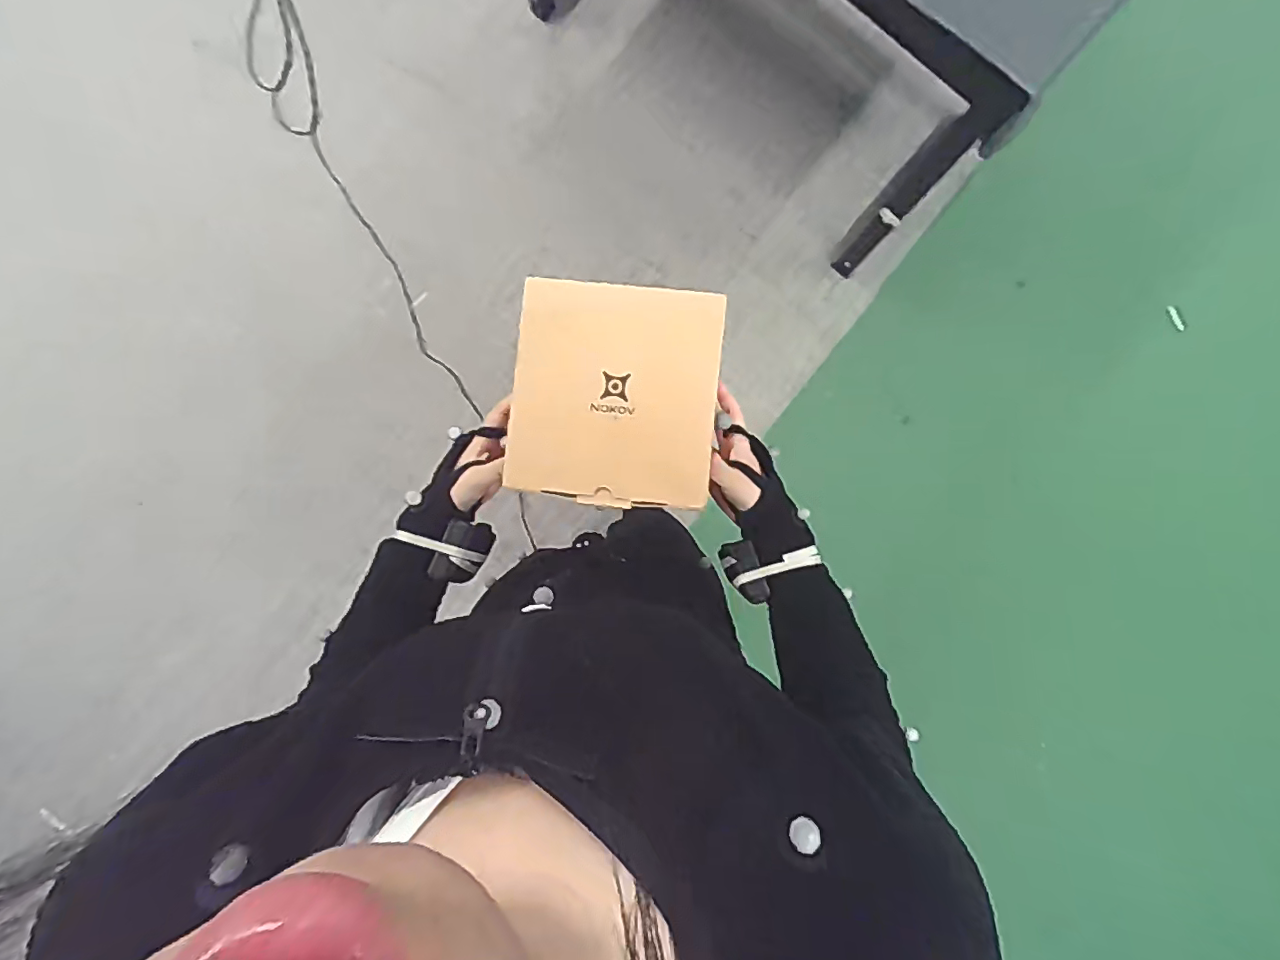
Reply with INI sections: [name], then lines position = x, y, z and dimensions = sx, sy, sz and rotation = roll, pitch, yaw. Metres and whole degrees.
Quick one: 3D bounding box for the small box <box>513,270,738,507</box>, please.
[small box]
position = -0.012, -0.071, 0.504
dimensions = 0.168, 0.176, 0.179
rotation = 5, 90, 0
